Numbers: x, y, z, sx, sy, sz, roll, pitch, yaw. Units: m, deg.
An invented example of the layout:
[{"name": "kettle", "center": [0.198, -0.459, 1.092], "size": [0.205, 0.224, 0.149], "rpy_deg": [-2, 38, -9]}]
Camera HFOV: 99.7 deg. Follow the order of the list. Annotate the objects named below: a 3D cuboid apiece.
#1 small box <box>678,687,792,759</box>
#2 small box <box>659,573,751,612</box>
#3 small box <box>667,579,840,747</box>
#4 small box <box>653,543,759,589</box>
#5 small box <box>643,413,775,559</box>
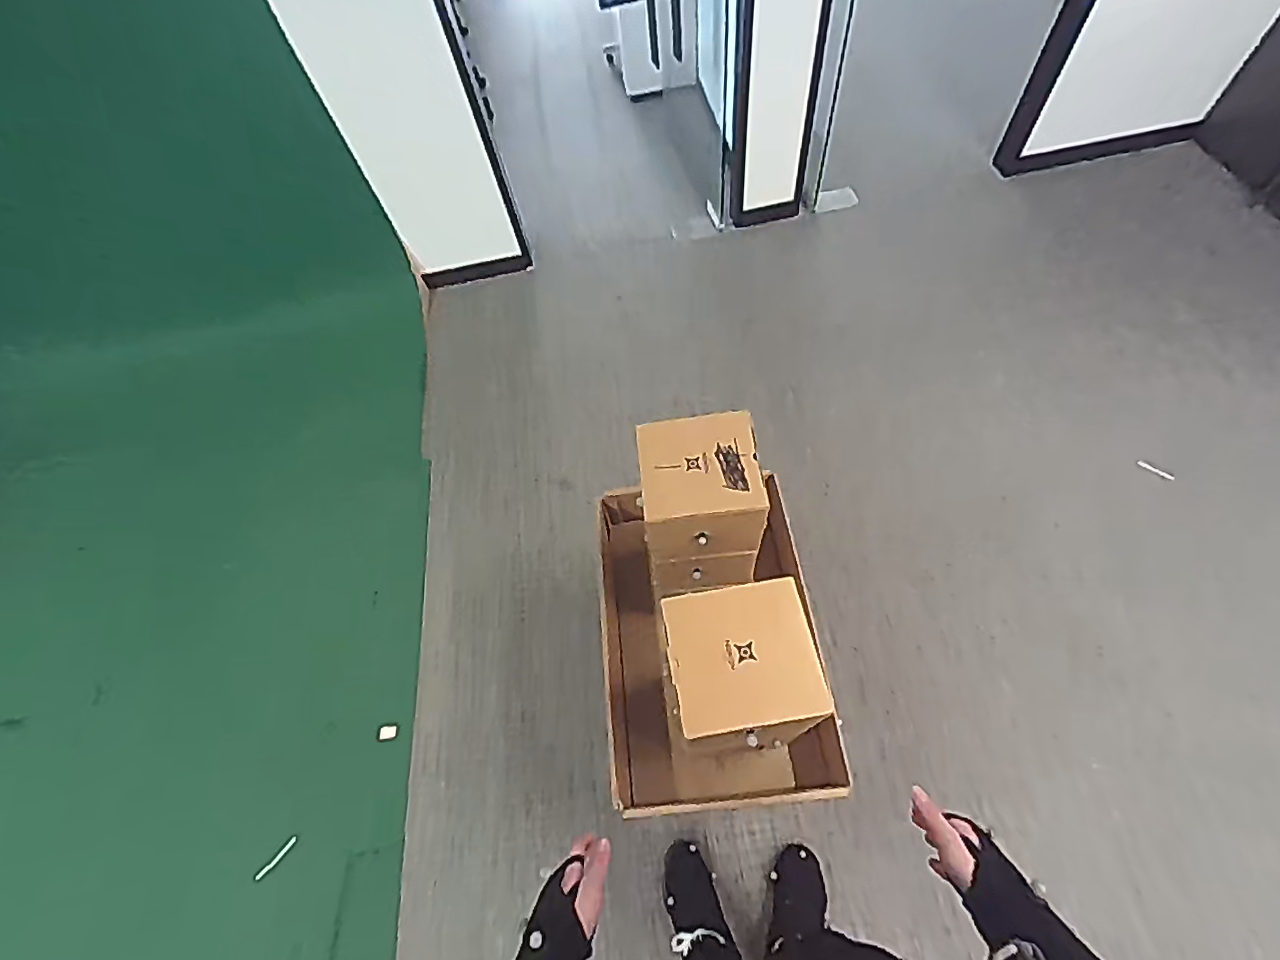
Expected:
[{"name": "small box", "center": [0.163, 0.410, 0.995], "size": [0.179, 0.176, 0.168], "rpy_deg": [-8, 59, 2]}, {"name": "small box", "center": [0.130, 0.178, 1.136], "size": [0.179, 0.176, 0.168], "rpy_deg": [-4, 61, 3]}, {"name": "small box", "center": [0.136, 0.247, 0.714], "size": [0.179, 0.176, 0.168], "rpy_deg": [-10, 59, 0]}, {"name": "small box", "center": [0.116, 0.096, 0.995], "size": [0.179, 0.176, 0.168], "rpy_deg": [-6, 62, 4]}, {"name": "small box", "center": [0.101, 0.016, 0.851], "size": [0.179, 0.176, 0.168], "rpy_deg": [-6, 61, 3]}]
